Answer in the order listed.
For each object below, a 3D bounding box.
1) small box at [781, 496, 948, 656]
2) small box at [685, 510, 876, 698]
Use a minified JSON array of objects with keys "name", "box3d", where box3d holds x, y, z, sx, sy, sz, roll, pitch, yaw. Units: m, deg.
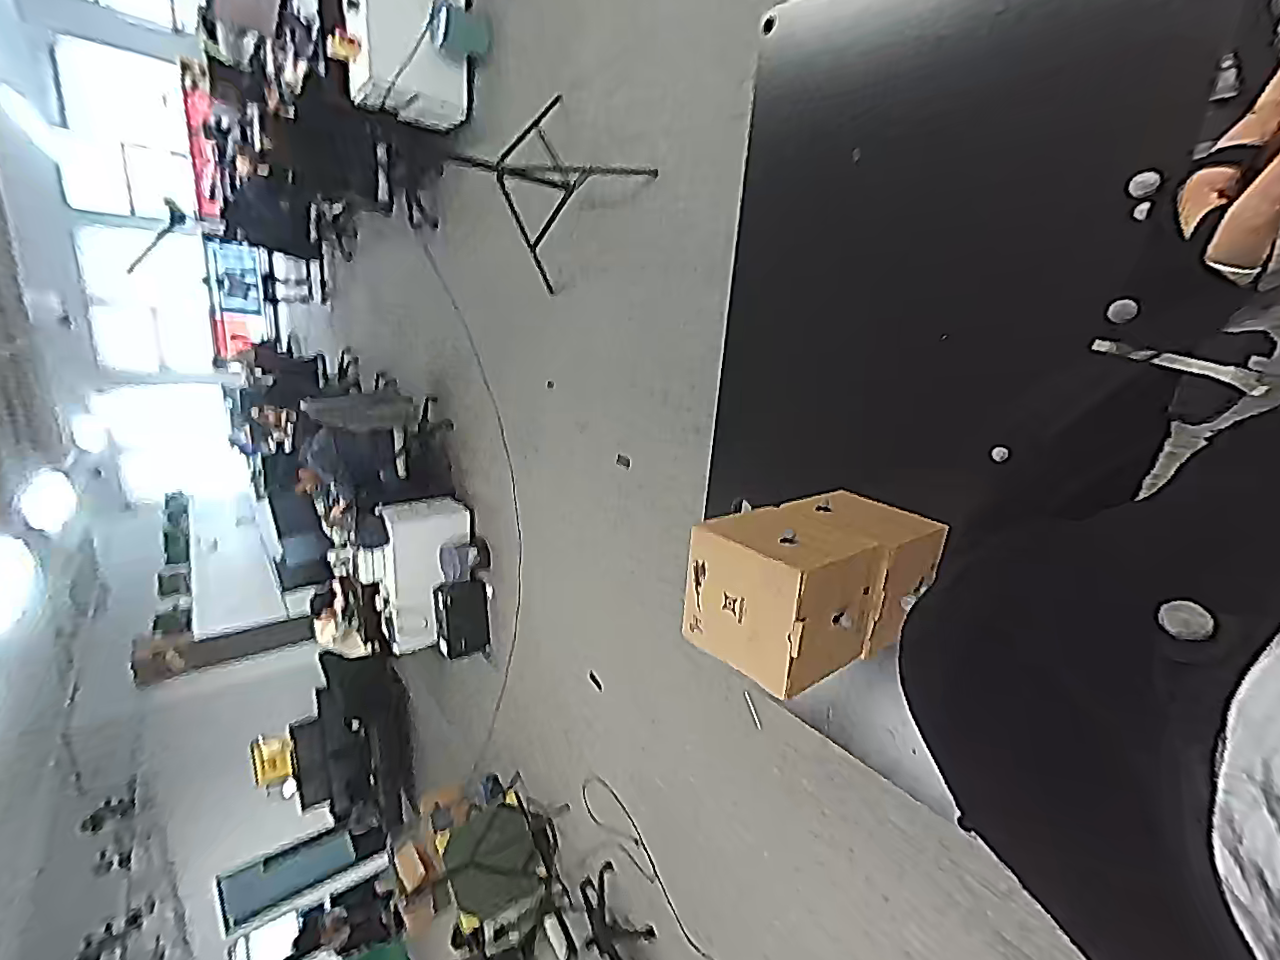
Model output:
[{"name":"small box","box3d":[0.318,0.127,0.806,0.179,0.176,0.168,25,116,47]},{"name":"small box","box3d":[0.183,0.146,0.713,0.179,0.176,0.168,20,112,48]}]
